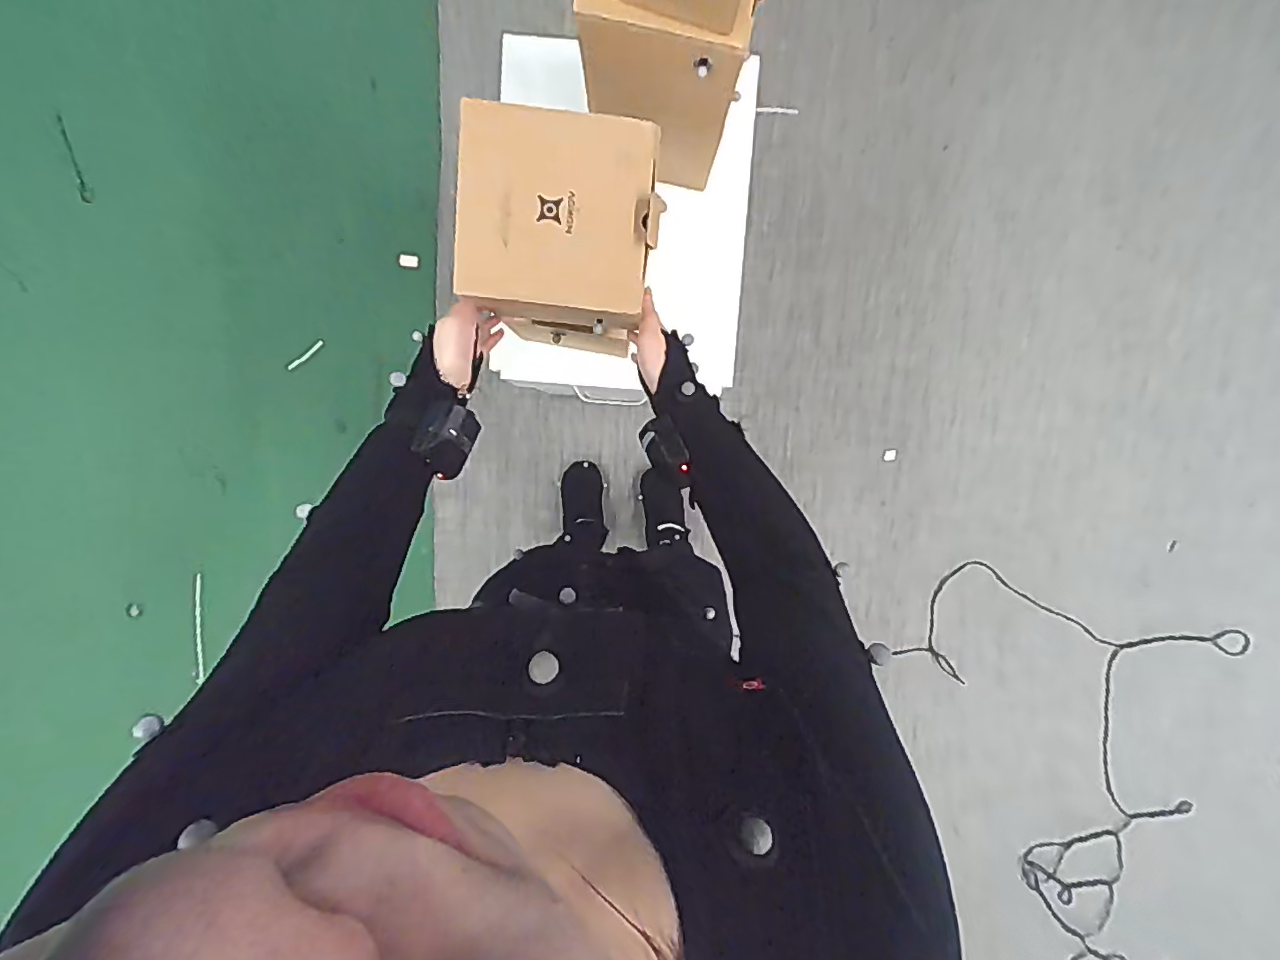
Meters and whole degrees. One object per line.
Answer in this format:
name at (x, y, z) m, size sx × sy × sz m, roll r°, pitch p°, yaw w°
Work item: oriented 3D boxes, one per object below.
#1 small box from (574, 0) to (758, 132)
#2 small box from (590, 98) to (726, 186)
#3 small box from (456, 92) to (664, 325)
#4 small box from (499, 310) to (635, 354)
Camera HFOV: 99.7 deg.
small box at (0.035, -0.522, 0.596) m, size 0.179 × 0.176 × 0.168 m, roll 10°, pitch 96°, yaw -2°
small box at (0.036, -0.541, 0.758) m, size 0.179 × 0.176 × 0.168 m, roll 11°, pitch 96°, yaw -2°
small box at (-0.075, -0.258, 0.557) m, size 0.179 × 0.176 × 0.168 m, roll 5°, pitch 99°, yaw -1°
small box at (-0.087, -0.286, 0.778) m, size 0.179 × 0.176 × 0.168 m, roll 10°, pitch 95°, yaw -3°
